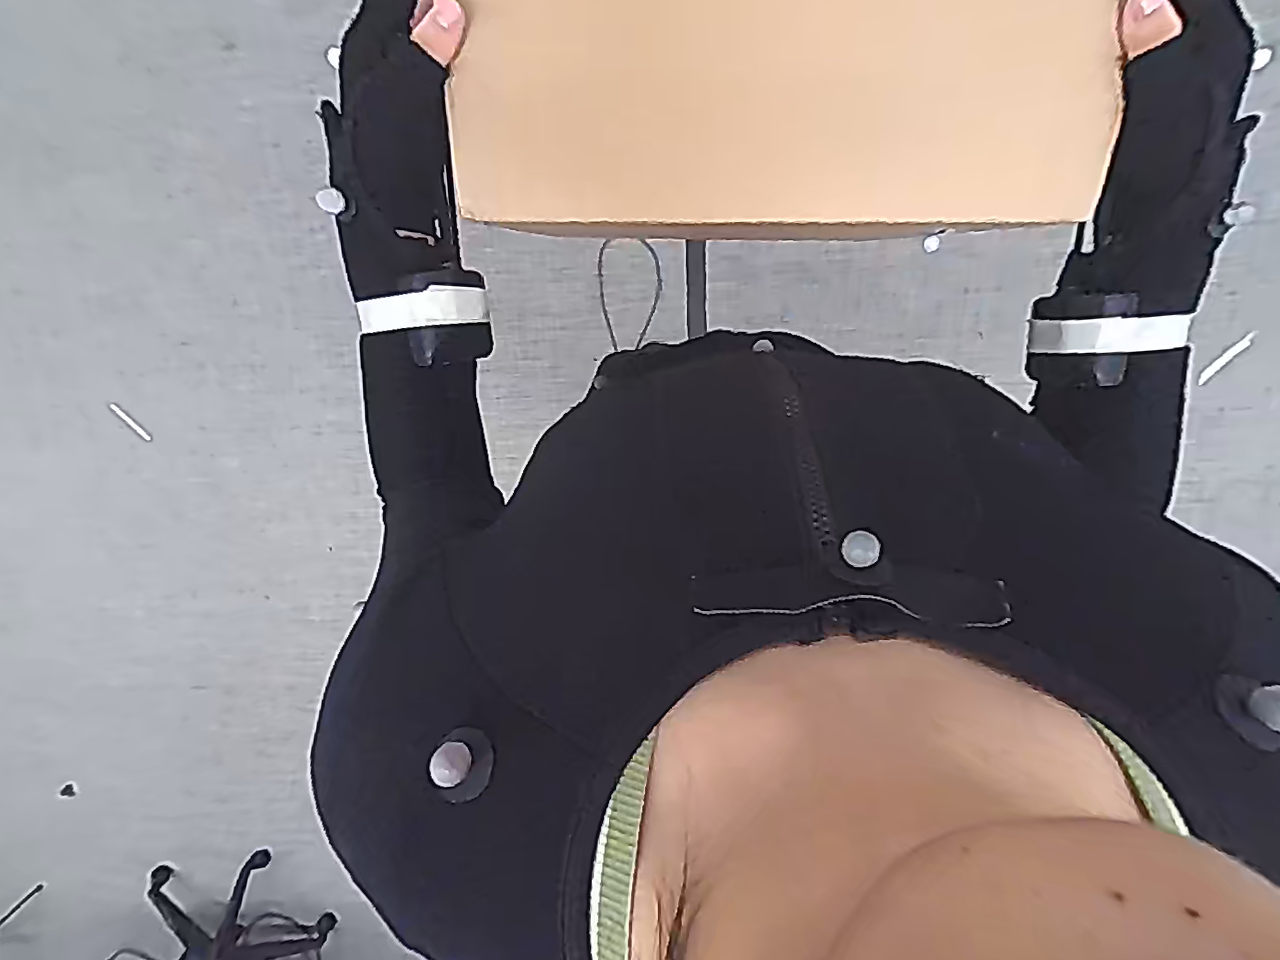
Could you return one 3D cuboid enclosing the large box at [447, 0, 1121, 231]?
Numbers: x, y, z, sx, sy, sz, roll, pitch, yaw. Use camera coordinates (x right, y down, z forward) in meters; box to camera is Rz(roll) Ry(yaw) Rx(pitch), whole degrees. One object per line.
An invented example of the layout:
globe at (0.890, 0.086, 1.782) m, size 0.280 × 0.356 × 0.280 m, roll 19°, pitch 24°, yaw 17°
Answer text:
large box at (0.087, -0.375, 0.439) m, size 0.408 × 0.320 × 0.320 m, roll 0°, pitch 112°, yaw 1°
